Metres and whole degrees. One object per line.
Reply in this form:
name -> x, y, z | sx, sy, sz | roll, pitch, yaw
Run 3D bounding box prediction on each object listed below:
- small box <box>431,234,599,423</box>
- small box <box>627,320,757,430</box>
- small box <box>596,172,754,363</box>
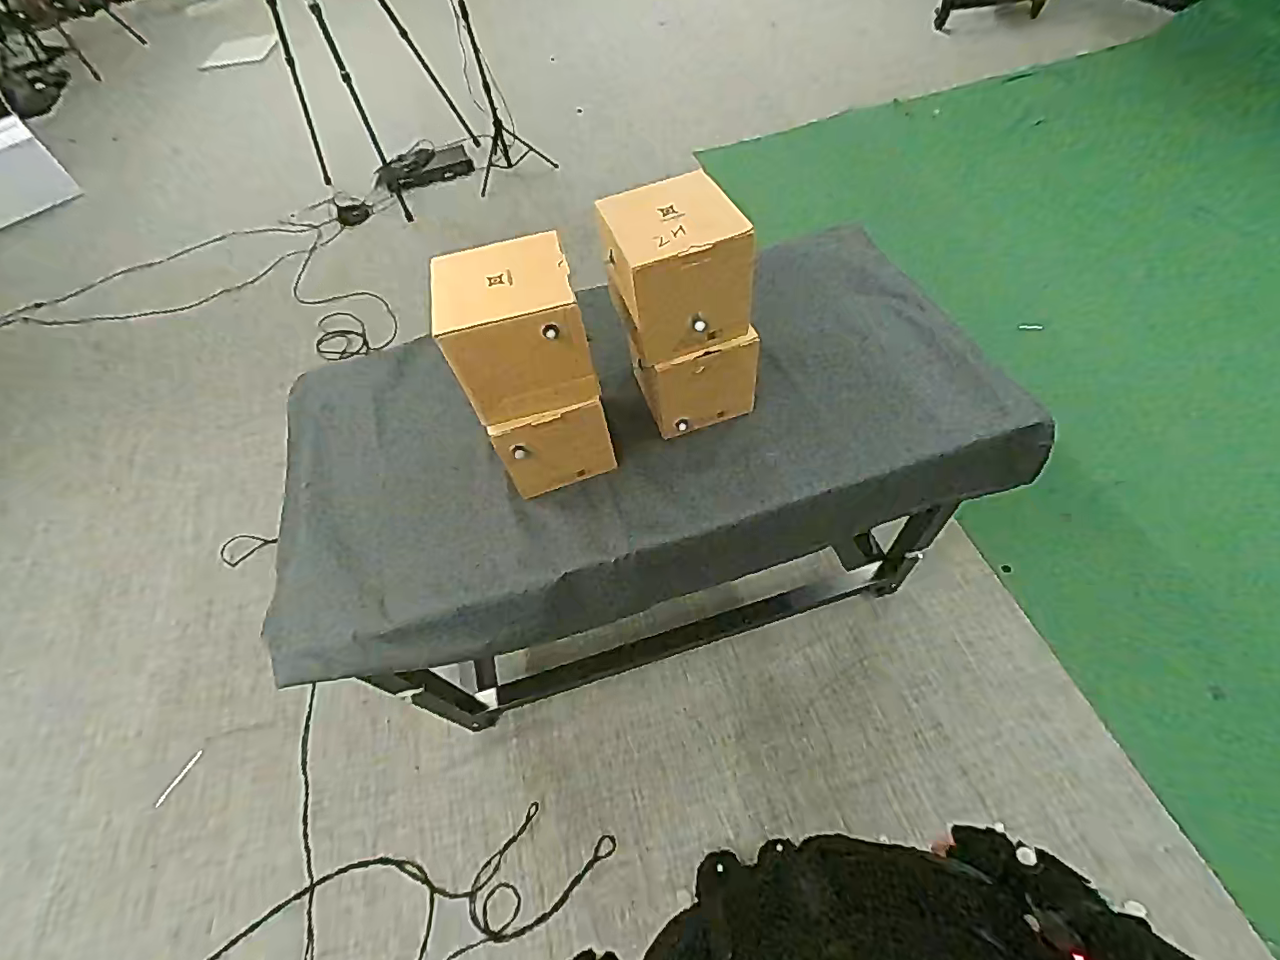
small box -> -0.167, -0.202, 0.744 | 0.179, 0.176, 0.168 | -15, 54, -2
small box -> 0.084, -0.204, 0.906 | 0.168, 0.176, 0.179 | -18, 55, -4
small box -> 0.048, -0.301, 0.778 | 0.168, 0.176, 0.179 | -20, 57, -5
